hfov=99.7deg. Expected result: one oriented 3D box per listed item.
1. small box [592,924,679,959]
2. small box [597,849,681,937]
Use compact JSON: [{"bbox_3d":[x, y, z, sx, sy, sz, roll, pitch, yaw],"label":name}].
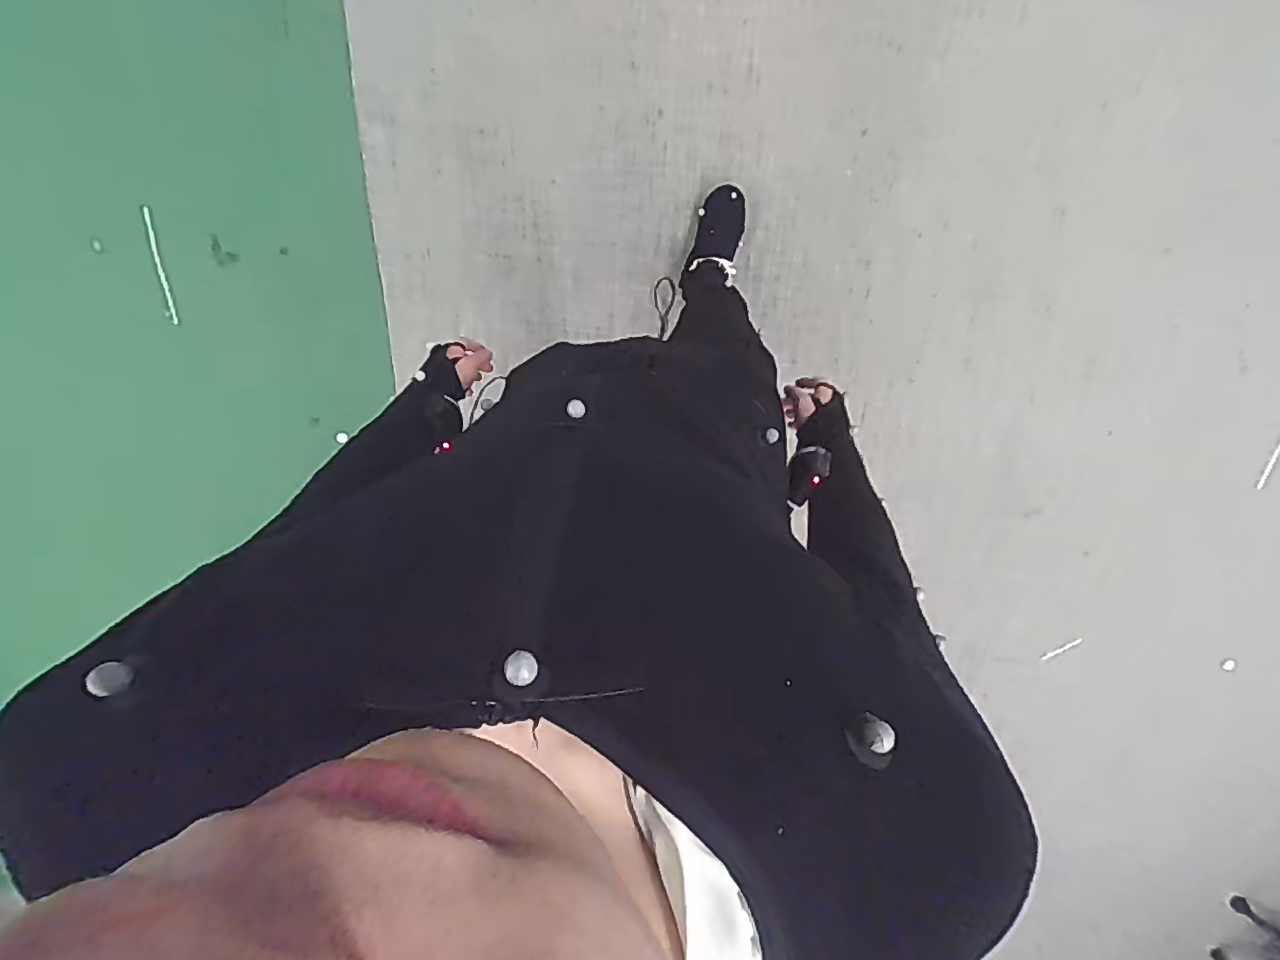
[{"bbox_3d":[-0.017,1.034,1.082,0.179,0.176,0.168,4,114,4],"label":"small box"},{"bbox_3d":[0.002,0.984,1.239,0.179,0.176,0.168,3,113,4],"label":"small box"}]
